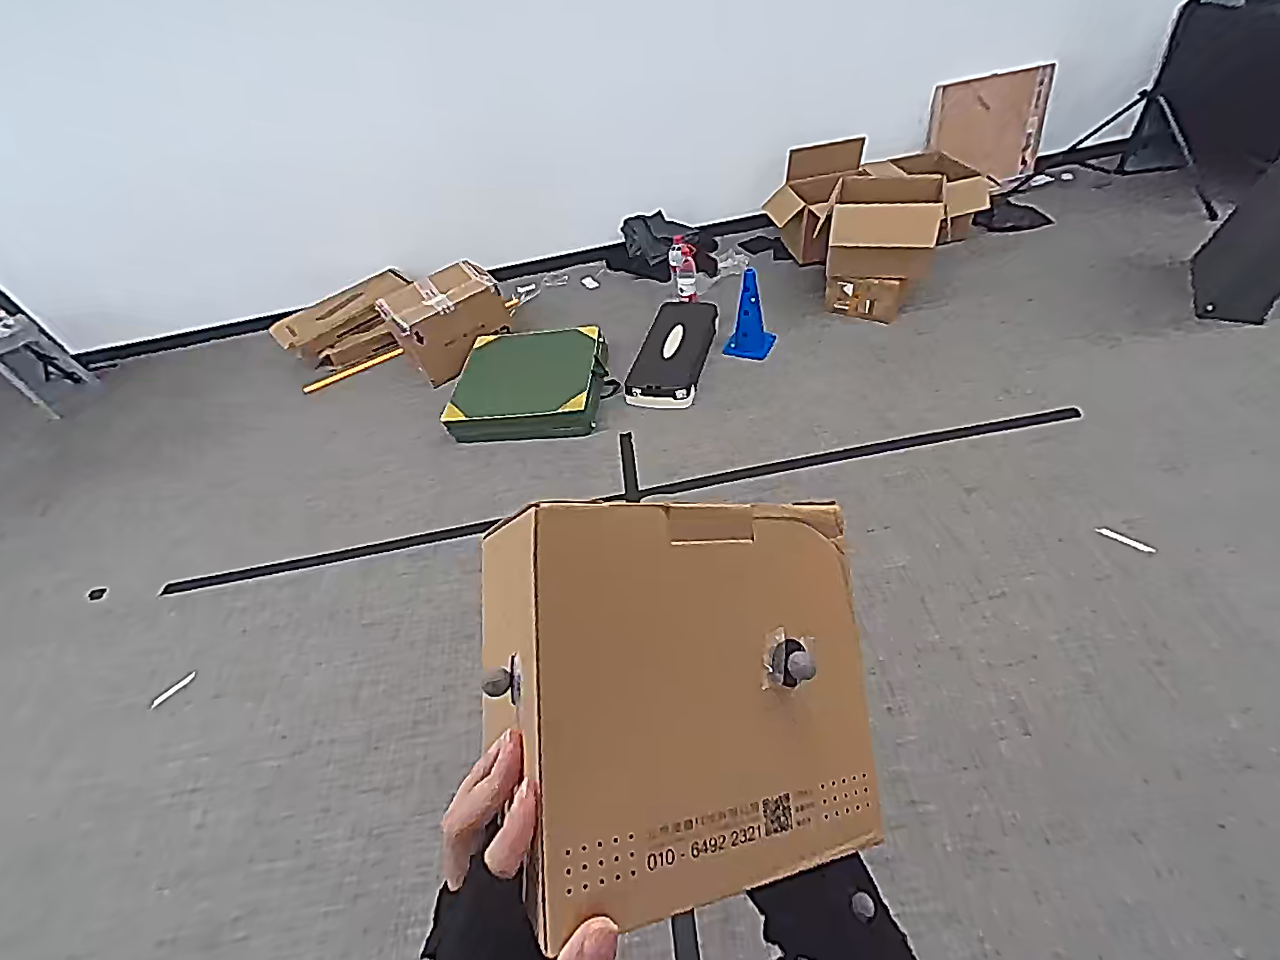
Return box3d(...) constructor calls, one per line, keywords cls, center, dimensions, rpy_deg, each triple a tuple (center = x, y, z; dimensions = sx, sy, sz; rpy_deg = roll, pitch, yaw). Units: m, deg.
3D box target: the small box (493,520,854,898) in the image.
box3d(cls="small box", center=(0.006, 0.119, 0.334), dimensions=(0.168, 0.179, 0.176), rpy_deg=(2, 78, -23))
